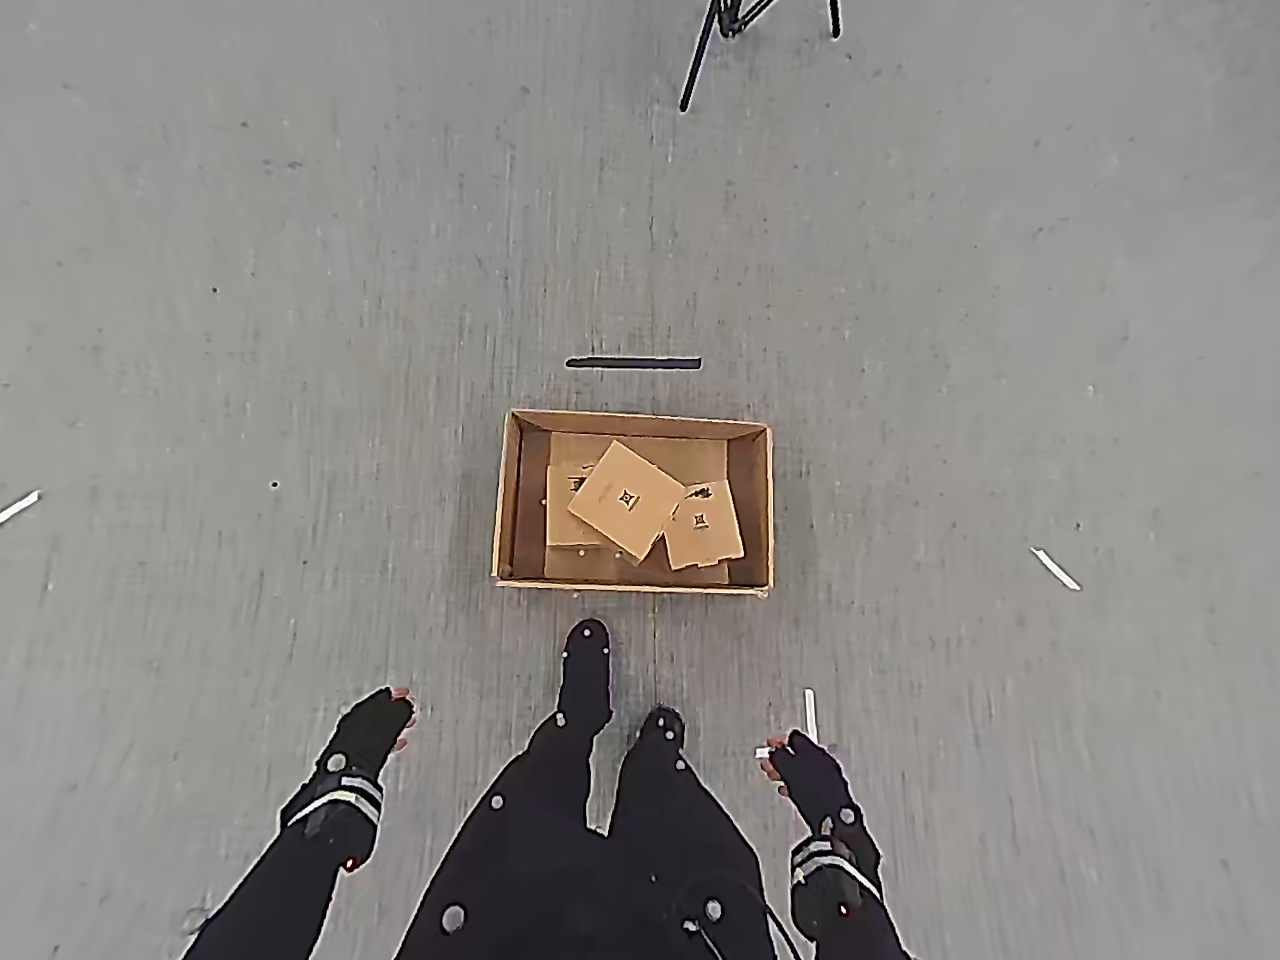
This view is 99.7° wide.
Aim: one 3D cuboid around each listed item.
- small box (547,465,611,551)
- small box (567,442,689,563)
[{"bbox_3d":[-0.125,0.070,1.246,0.168,0.176,0.179,0,79,-6],"label":"small box"},{"bbox_3d":[-0.026,0.054,1.091,0.179,0.176,0.168,34,76,4],"label":"small box"}]
